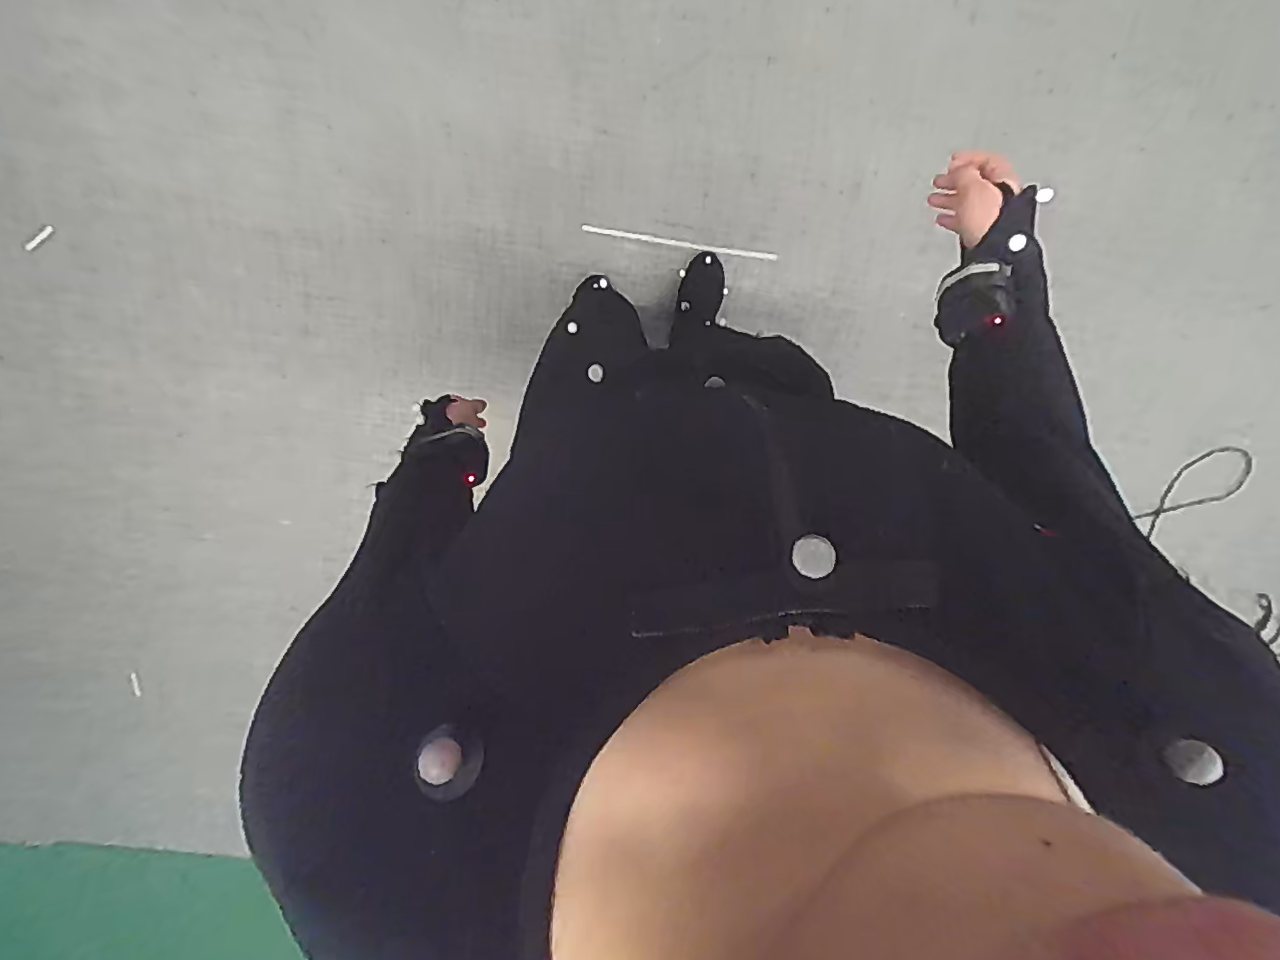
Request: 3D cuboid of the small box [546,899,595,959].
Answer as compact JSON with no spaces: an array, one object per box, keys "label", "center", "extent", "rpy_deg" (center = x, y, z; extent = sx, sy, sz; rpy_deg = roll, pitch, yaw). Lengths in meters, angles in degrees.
[{"label":"small box","center":[-0.270,1.790,2.112],"extent":[0.168,0.176,0.179],"rpy_deg":[6,110,0]}]
